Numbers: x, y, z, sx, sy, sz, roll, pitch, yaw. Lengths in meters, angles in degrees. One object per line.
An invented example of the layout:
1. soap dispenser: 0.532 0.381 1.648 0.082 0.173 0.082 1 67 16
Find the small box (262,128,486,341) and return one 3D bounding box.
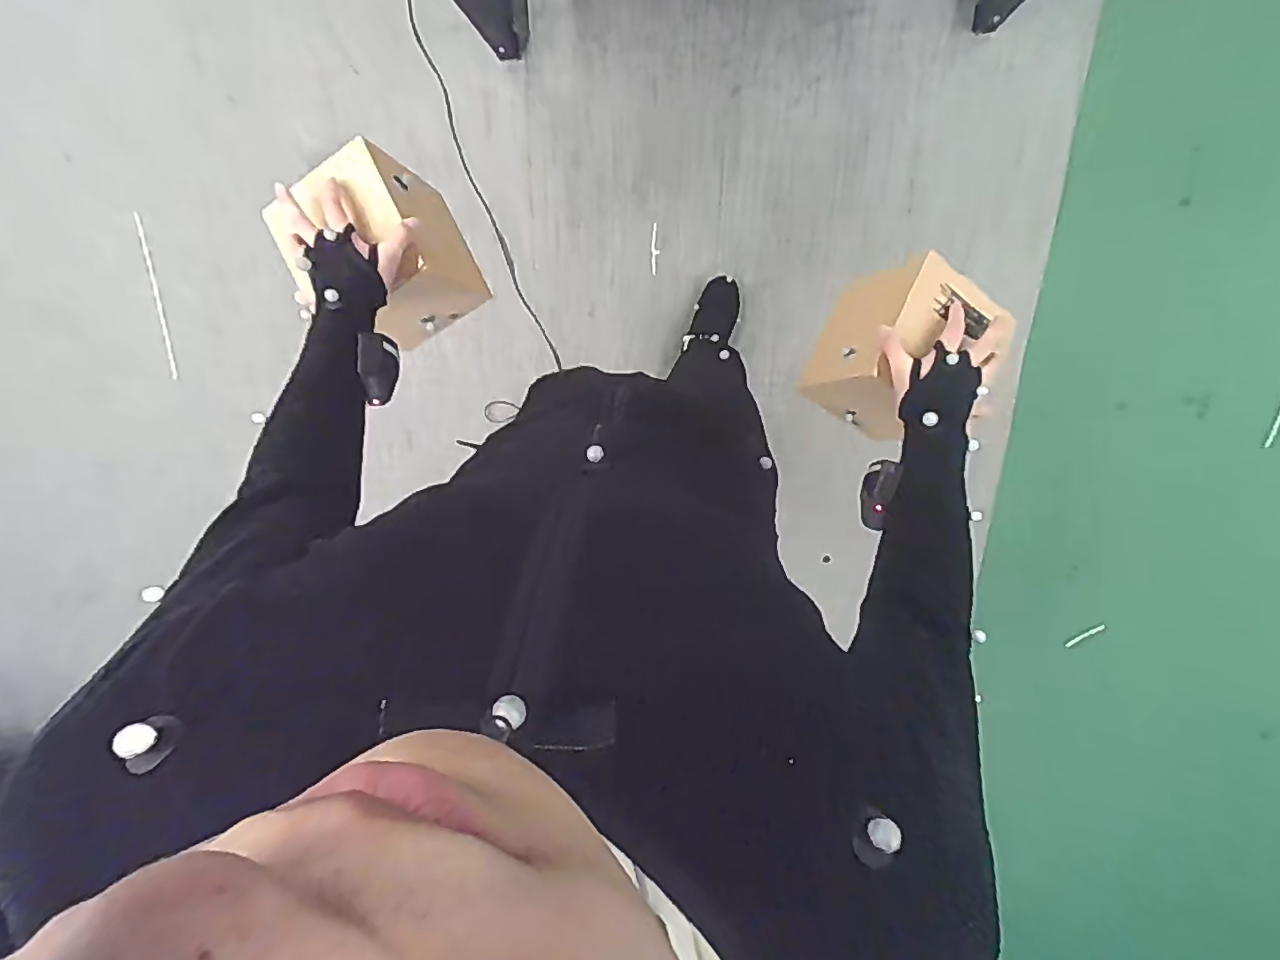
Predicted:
1. small box: -0.341 -0.307 0.722 0.168 0.176 0.179 -26 90 14
